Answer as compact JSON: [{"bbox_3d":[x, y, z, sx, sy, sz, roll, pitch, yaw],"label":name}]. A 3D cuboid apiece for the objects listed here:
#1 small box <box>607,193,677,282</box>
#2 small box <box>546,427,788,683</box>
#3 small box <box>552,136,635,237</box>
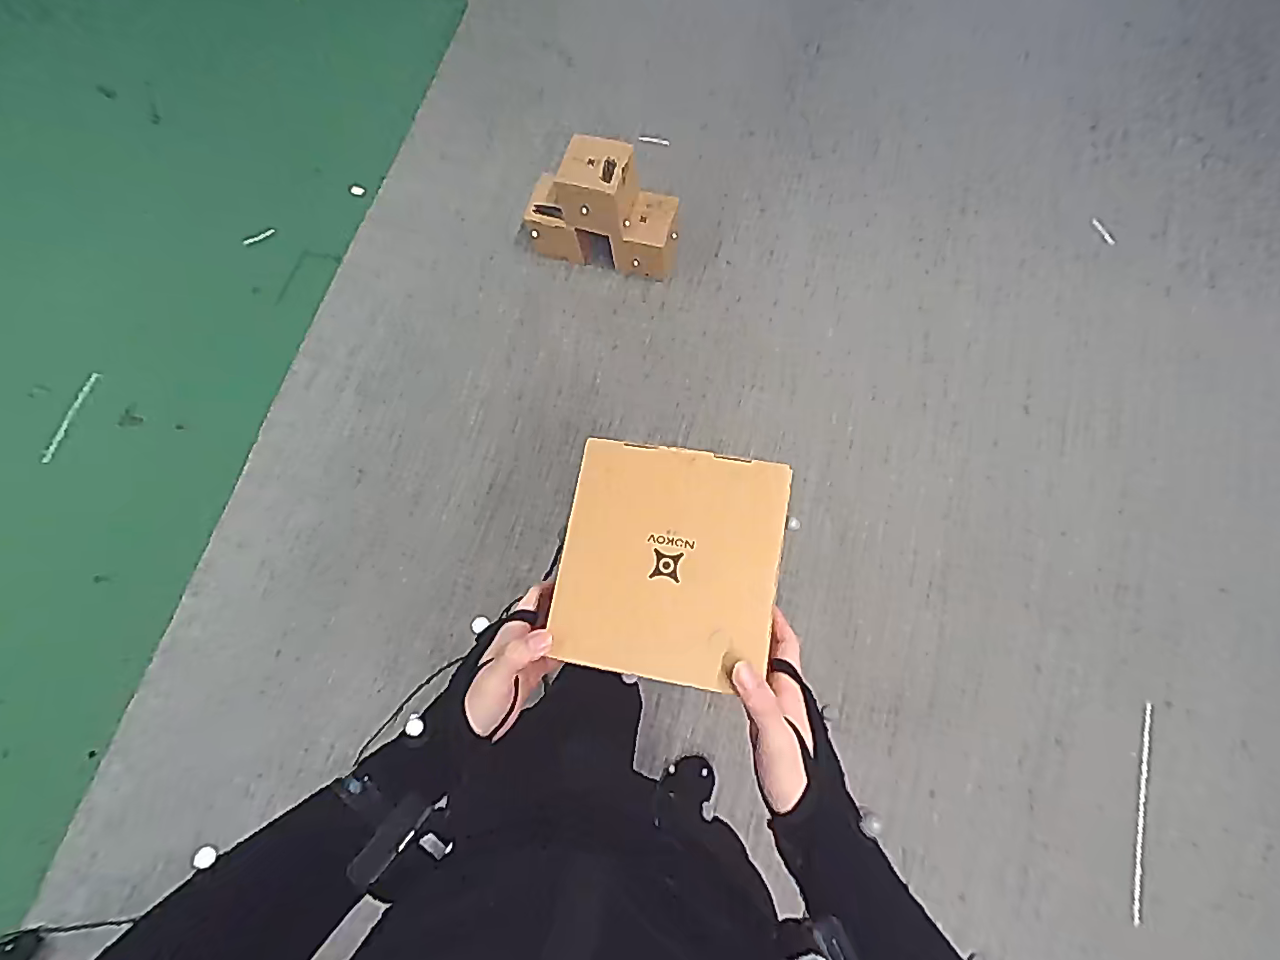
[{"bbox_3d":[0.014,-0.734,1.644,0.168,0.176,0.179,15,76,8],"label":"small box"},{"bbox_3d":[0.032,0.070,0.491,0.168,0.176,0.179,8,76,9],"label":"small box"},{"bbox_3d":[-0.120,-0.808,1.504,0.179,0.176,0.168,17,77,9],"label":"small box"}]
